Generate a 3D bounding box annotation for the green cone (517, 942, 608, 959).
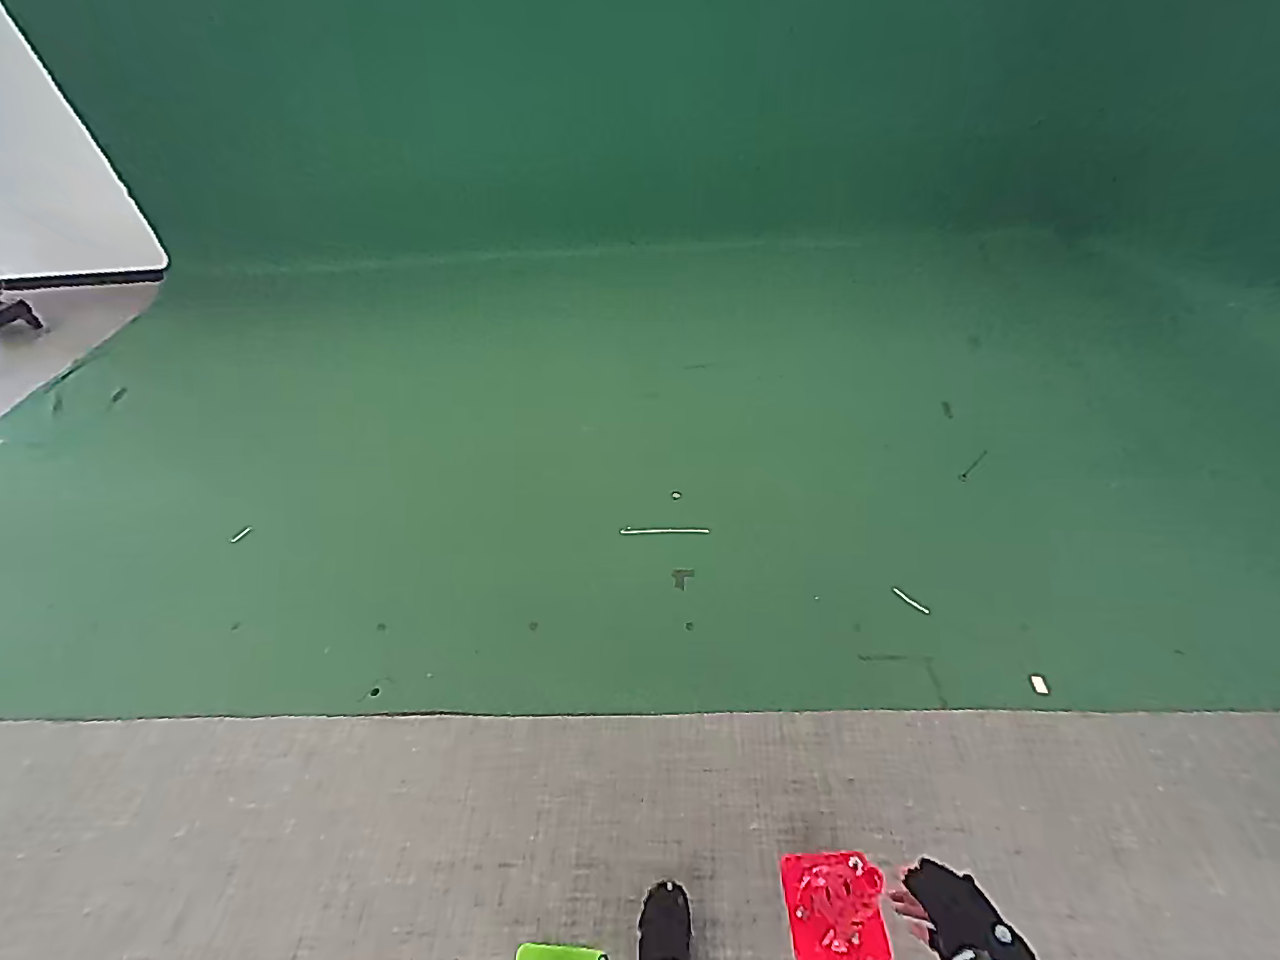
[{"bbox_3d":[-0.178,0.942,0.958,0.200,0.368,0.202,0,46,5],"label":"green cone"}]
